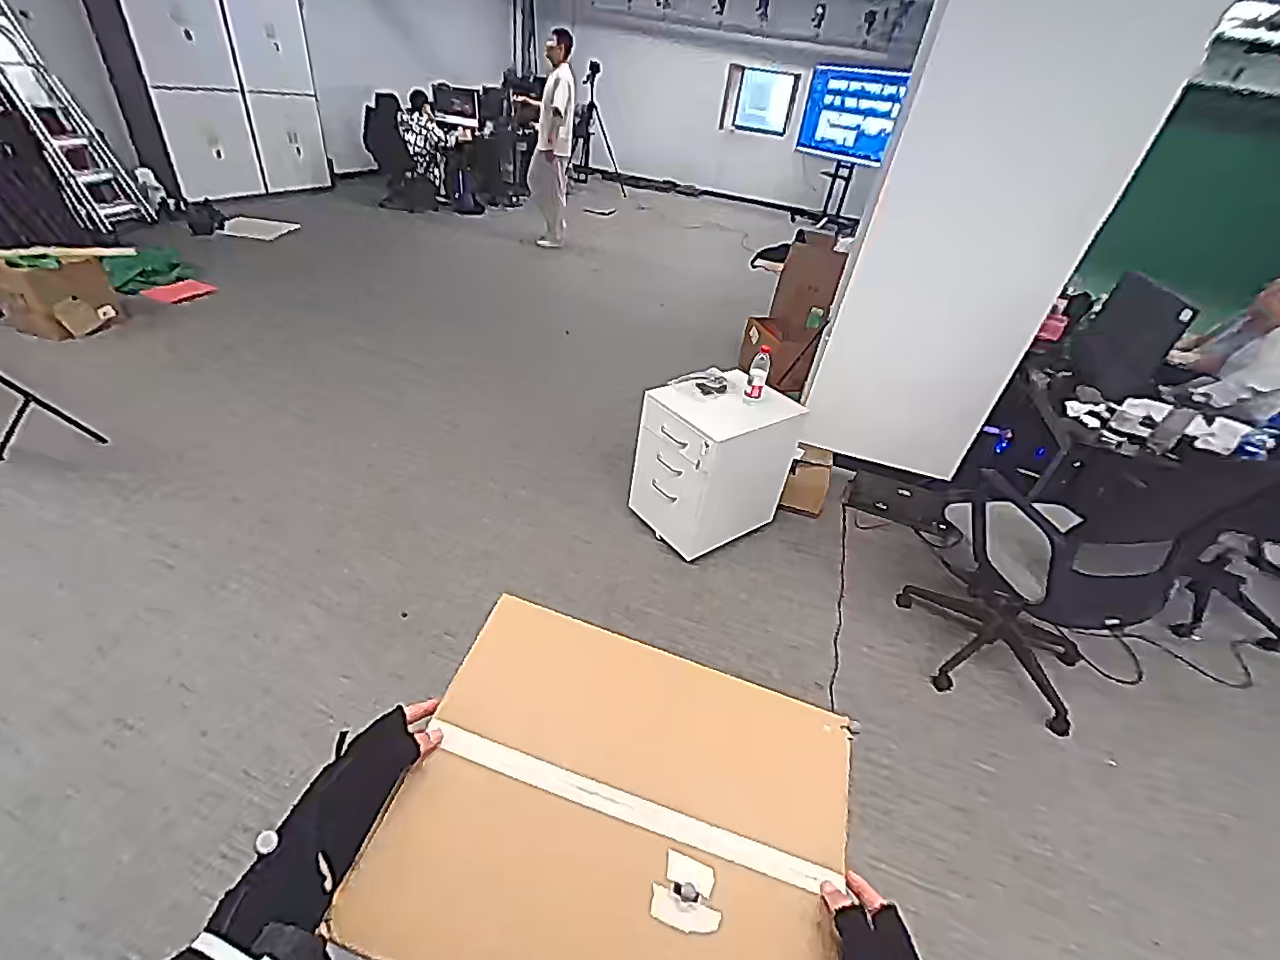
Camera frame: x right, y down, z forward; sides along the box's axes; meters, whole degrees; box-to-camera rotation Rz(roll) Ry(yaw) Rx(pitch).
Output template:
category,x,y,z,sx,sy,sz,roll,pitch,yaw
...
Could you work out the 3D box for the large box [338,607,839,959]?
category,x,y,z,sx,sy,sz,roll,pitch,yaw
large box,-0.036,0.407,0.618,0.408,0.320,0.320,19,49,5
